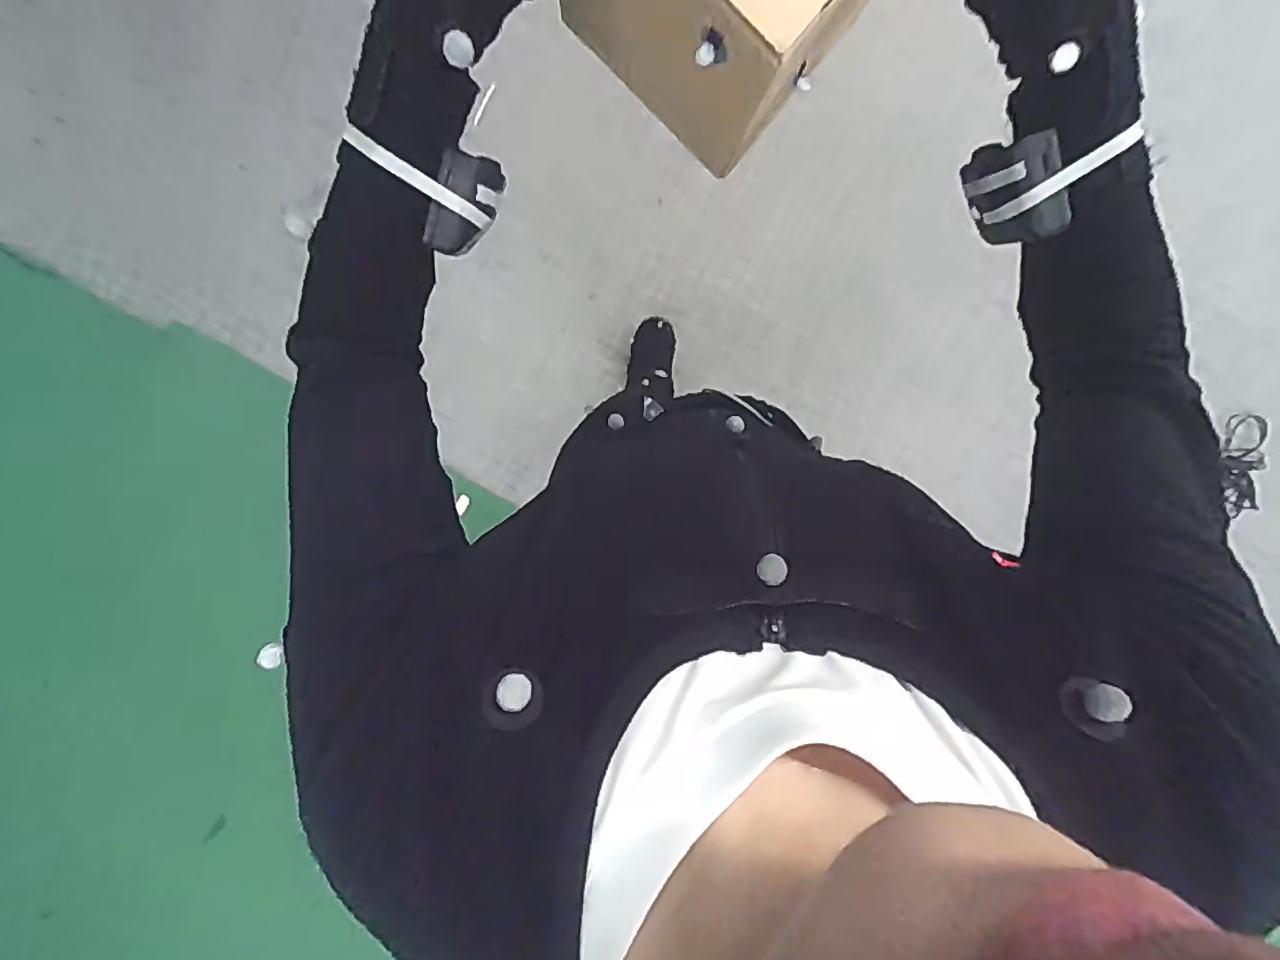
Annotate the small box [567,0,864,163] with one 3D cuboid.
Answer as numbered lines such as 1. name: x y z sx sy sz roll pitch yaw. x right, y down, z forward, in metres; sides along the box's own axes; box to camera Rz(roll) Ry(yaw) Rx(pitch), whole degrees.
1. small box: 0.059 -0.359 0.358 0.179 0.176 0.168 41 95 -9
